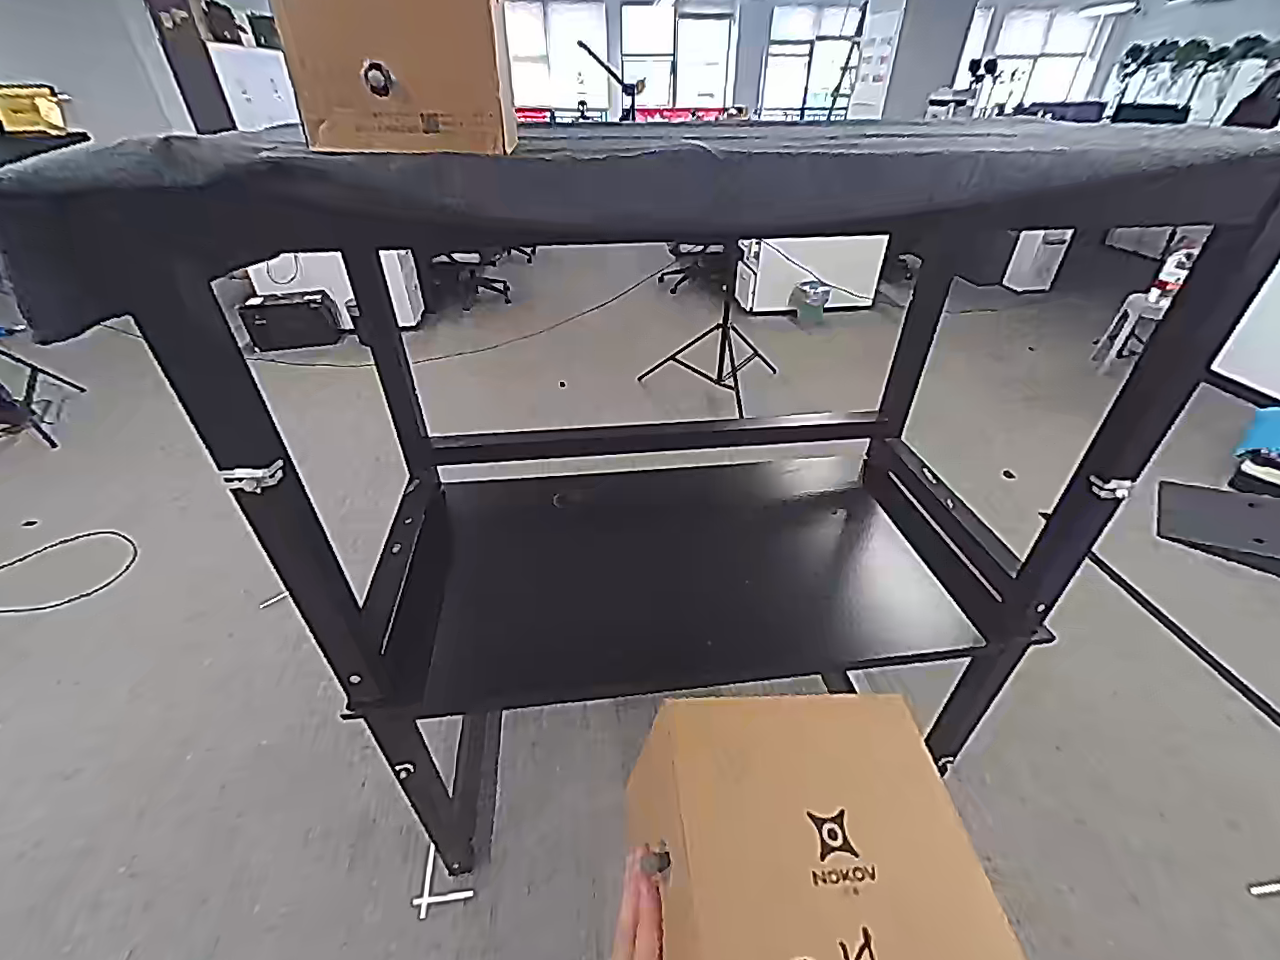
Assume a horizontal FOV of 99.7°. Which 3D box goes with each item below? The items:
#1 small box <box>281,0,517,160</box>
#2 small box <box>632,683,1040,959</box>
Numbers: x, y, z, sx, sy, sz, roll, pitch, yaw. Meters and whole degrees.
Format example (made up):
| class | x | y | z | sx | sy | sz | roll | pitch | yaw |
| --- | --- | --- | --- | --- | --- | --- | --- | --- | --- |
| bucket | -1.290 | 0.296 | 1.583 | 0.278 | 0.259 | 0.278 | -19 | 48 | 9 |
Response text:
| class | x | y | z | sx | sy | sz | roll | pitch | yaw |
| --- | --- | --- | --- | --- | --- | --- | --- | --- | --- |
| small box | -0.206 | -0.397 | 0.491 | 0.168 | 0.176 | 0.179 | -4 | 35 | -7 |
| small box | 0.092 | 0.248 | 0.336 | 0.168 | 0.176 | 0.179 | 3 | 43 | -11 |
